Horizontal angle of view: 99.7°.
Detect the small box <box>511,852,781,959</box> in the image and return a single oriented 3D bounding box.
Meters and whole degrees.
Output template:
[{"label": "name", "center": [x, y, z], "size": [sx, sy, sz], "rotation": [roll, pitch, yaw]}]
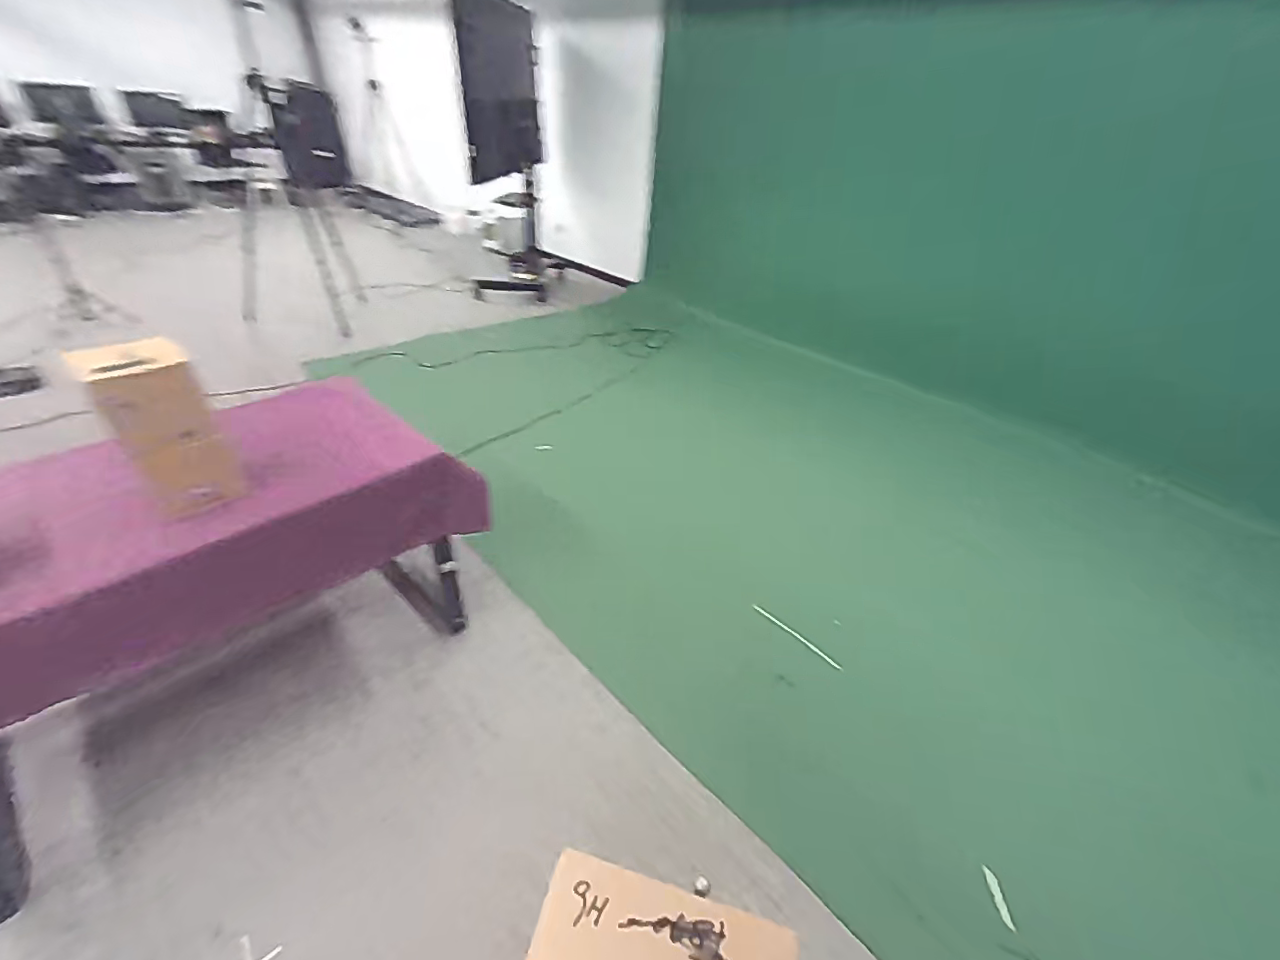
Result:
[{"label": "small box", "center": [-0.011, 0.390, 0.367], "size": [0.168, 0.176, 0.179], "rotation": [12, 49, 9]}]
